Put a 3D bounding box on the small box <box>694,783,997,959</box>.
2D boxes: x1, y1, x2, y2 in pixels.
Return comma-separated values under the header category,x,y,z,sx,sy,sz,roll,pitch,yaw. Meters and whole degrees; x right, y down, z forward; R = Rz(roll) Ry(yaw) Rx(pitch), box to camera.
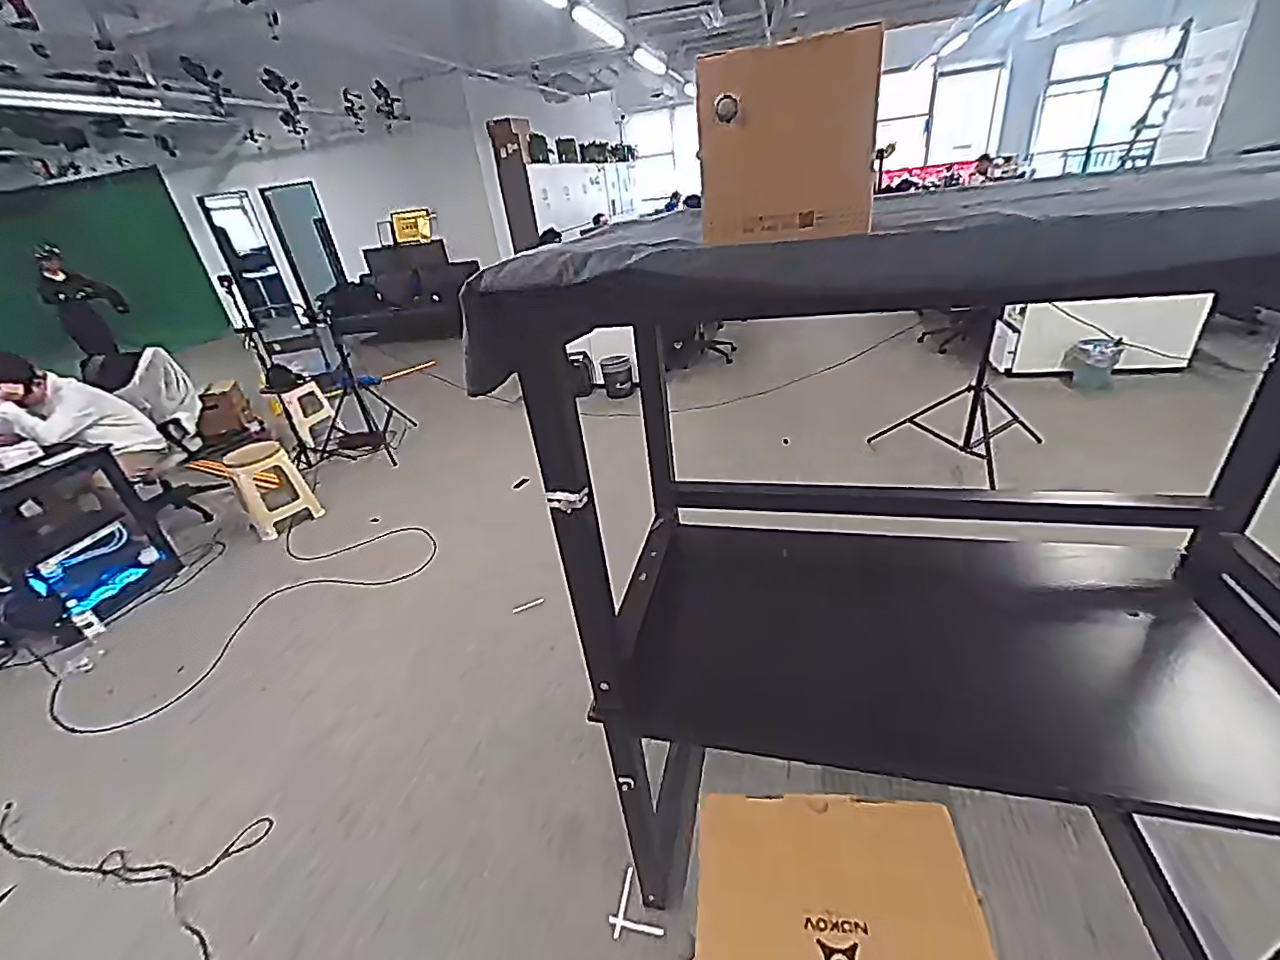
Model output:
category,x,y,z,sx,sy,sz,roll,pitch,yaw
small box,0.127,0.330,0.349,0.168,0.176,0.179,-4,32,12
